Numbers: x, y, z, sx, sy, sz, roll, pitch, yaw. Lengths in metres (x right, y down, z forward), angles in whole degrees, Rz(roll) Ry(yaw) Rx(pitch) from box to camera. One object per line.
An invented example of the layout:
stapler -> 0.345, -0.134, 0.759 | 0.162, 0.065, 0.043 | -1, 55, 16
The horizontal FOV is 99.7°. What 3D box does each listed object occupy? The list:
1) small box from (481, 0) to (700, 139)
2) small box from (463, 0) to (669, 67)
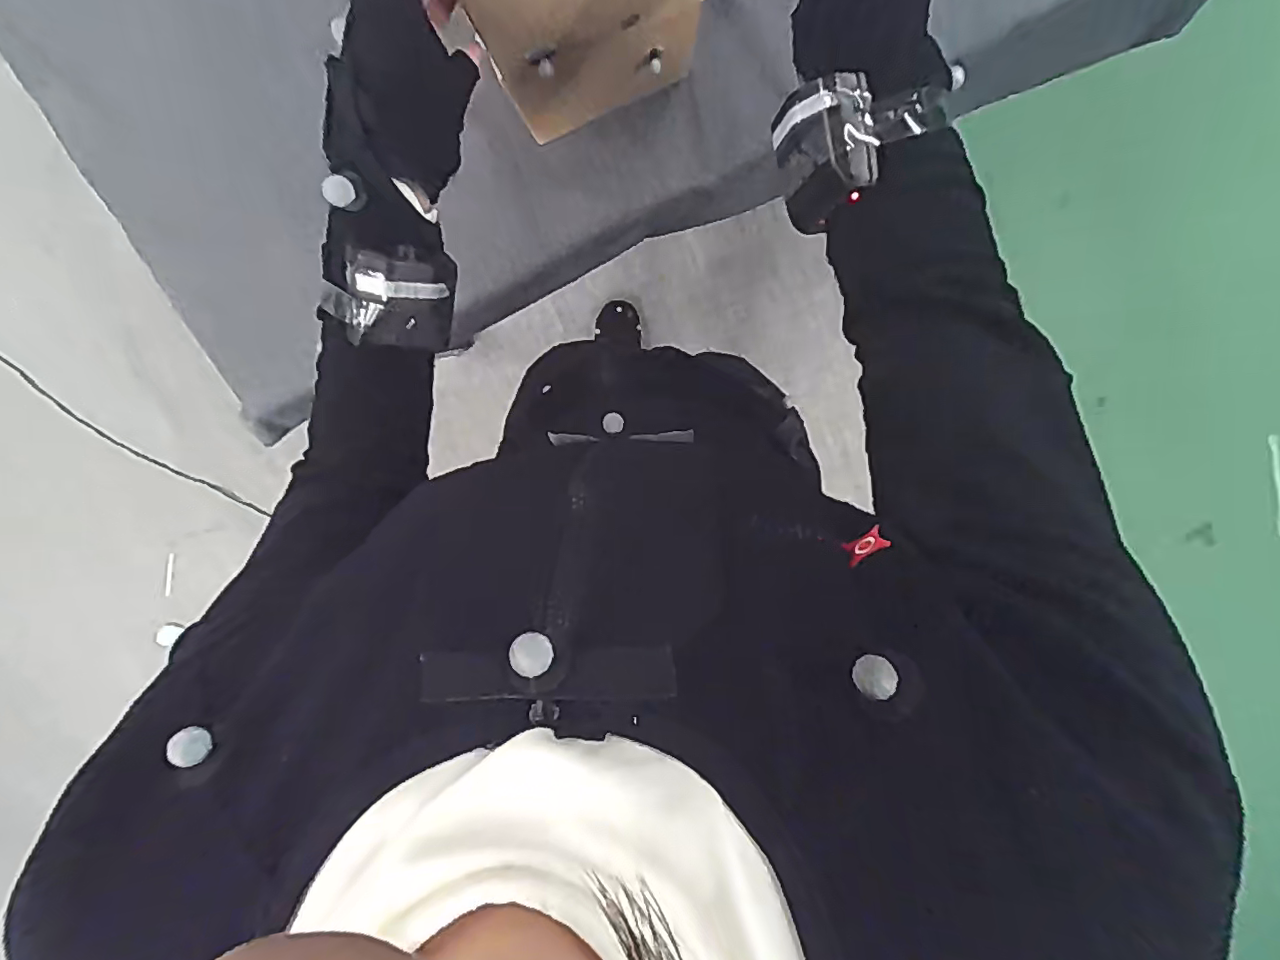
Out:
small box -> -0.059, -0.447, 0.483 | 0.179, 0.176, 0.168 | -21, 104, 8
small box -> -0.062, -0.397, 0.327 | 0.168, 0.176, 0.179 | -24, 104, 8
